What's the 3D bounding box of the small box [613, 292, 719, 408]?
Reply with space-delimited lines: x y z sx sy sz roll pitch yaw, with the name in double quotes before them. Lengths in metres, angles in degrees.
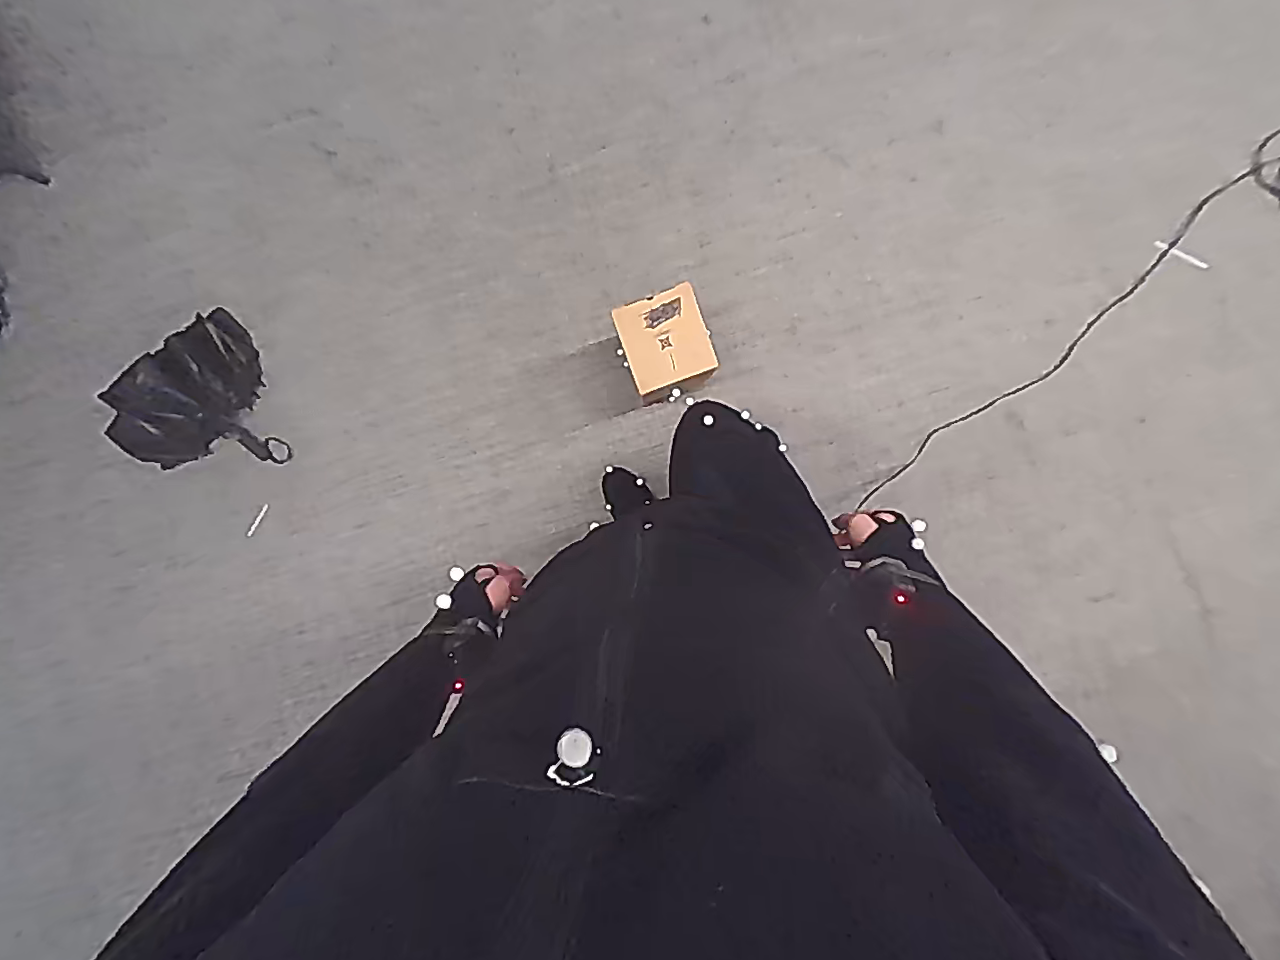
"small box" 0.052 -0.261 1.131 0.168 0.176 0.179 -20 92 3
